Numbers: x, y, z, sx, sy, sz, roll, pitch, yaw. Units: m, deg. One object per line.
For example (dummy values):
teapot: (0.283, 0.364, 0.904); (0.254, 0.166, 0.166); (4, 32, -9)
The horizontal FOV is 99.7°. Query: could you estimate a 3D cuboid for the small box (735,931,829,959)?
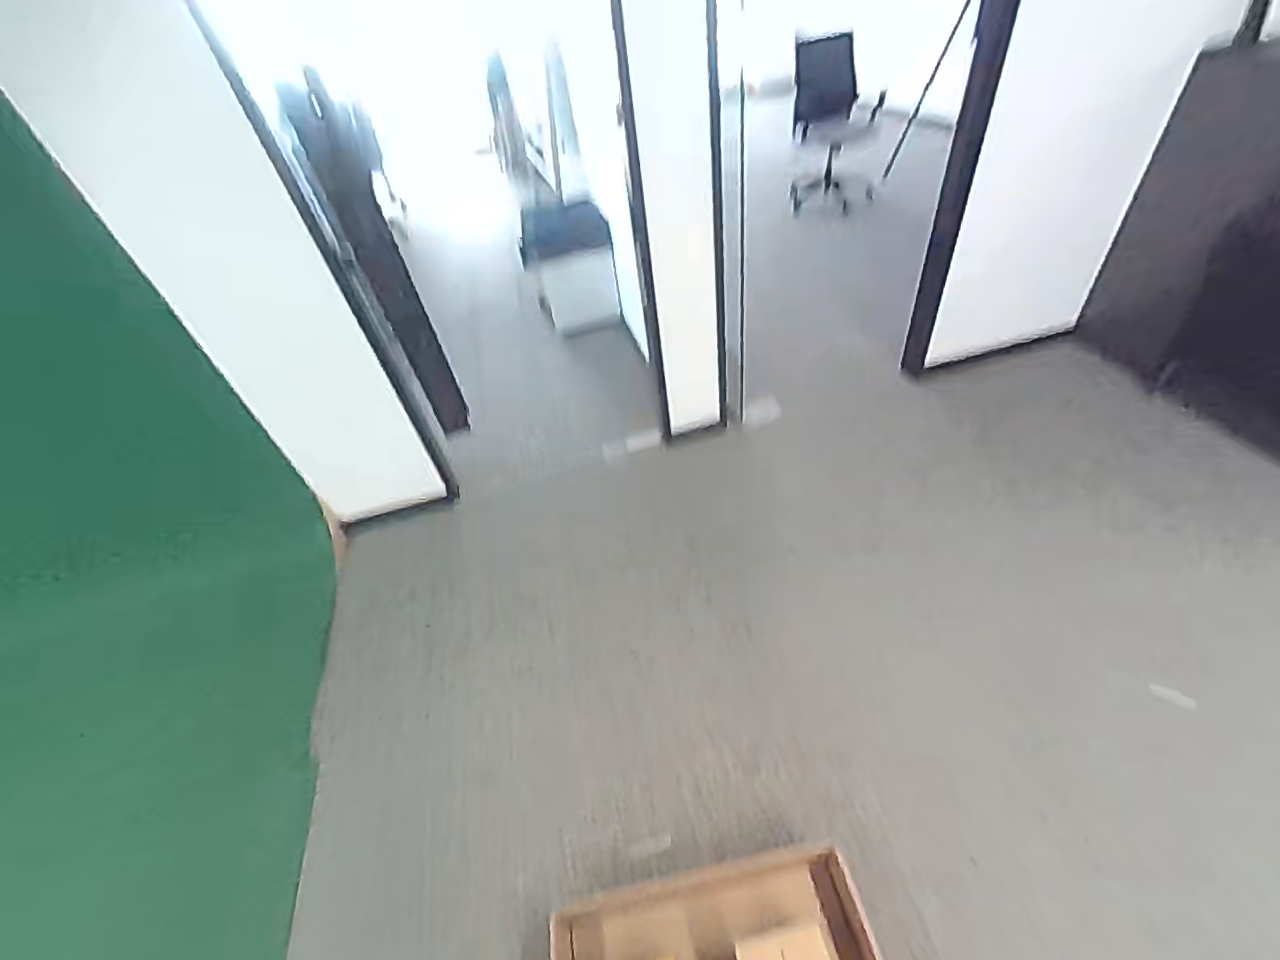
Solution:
small box: (0.282, 0.971, 0.994); (0.168, 0.176, 0.179); (-13, 41, -3)
